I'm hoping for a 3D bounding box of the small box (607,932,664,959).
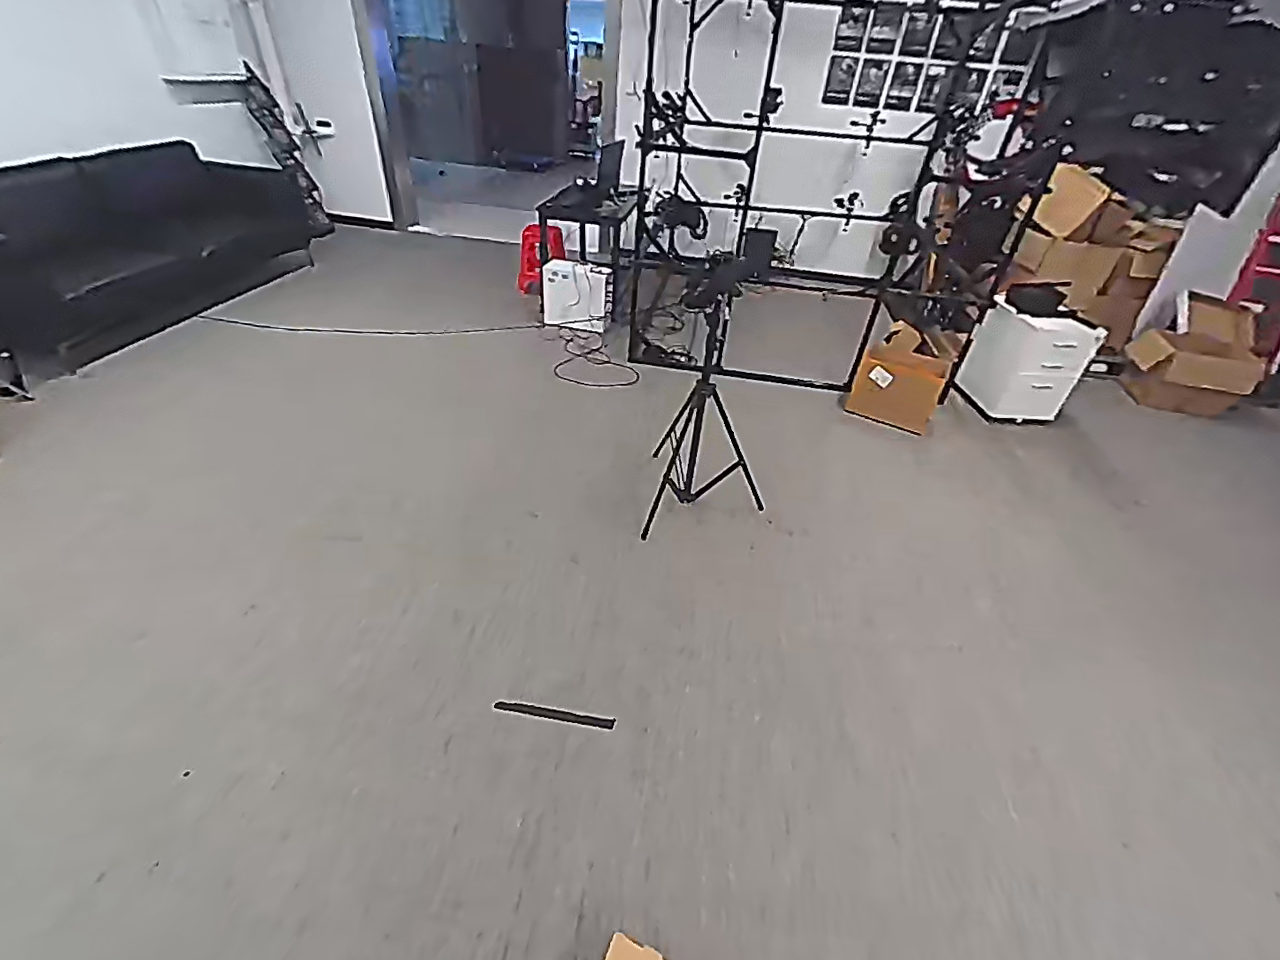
[{"bbox_3d":[-0.016,1.047,1.054,0.168,0.176,0.179,19,39,17],"label":"small box"}]
